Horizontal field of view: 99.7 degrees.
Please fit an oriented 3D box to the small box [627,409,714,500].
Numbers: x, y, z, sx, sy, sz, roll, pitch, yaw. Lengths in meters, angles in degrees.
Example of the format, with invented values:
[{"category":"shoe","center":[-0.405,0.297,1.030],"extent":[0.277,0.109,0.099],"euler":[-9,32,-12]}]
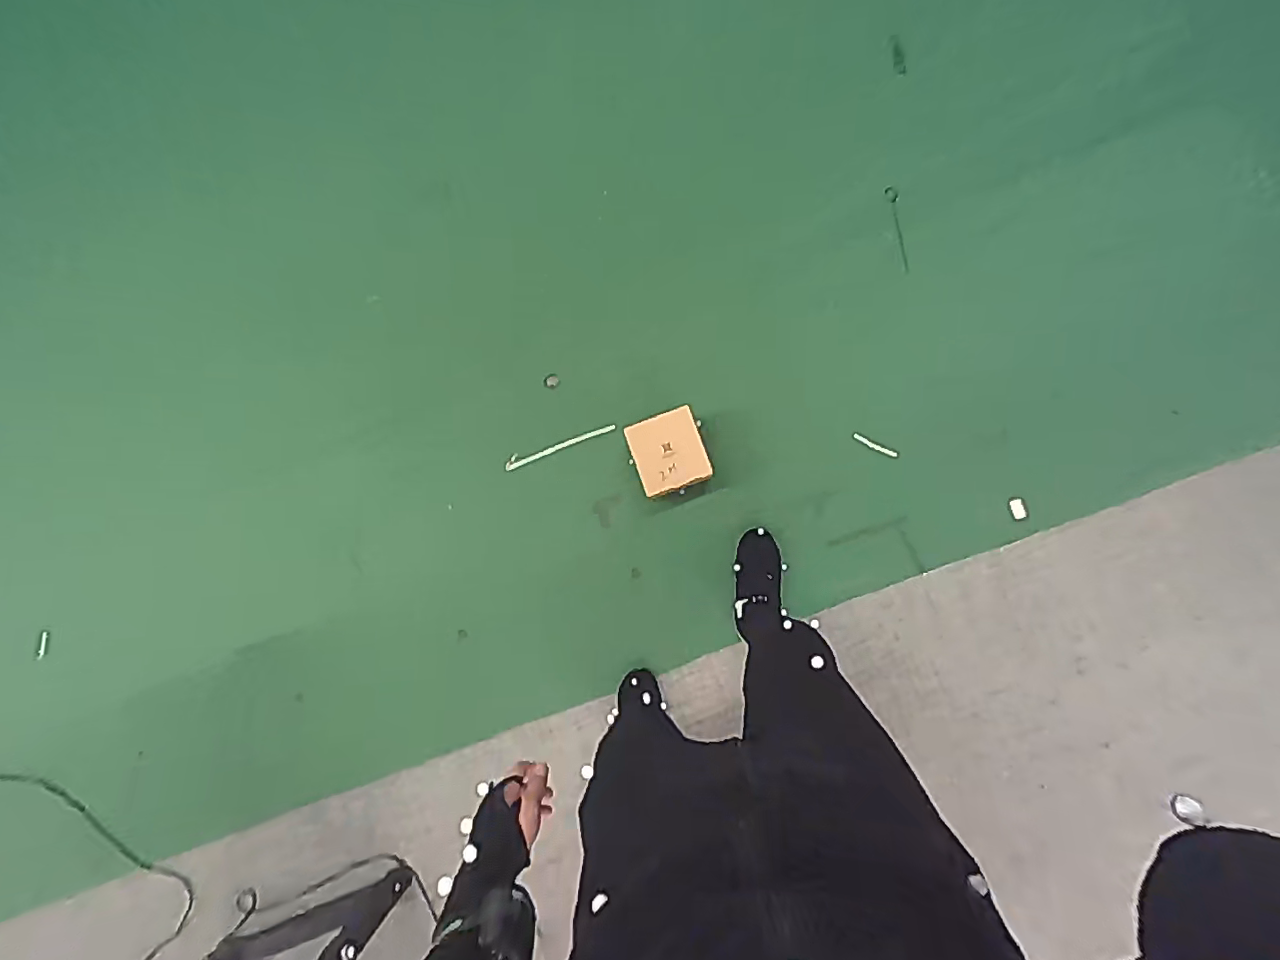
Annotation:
[{"category":"small box","center":[0.075,-0.057,1.347],"extent":[0.168,0.176,0.179],"euler":[-19,85,3]}]
